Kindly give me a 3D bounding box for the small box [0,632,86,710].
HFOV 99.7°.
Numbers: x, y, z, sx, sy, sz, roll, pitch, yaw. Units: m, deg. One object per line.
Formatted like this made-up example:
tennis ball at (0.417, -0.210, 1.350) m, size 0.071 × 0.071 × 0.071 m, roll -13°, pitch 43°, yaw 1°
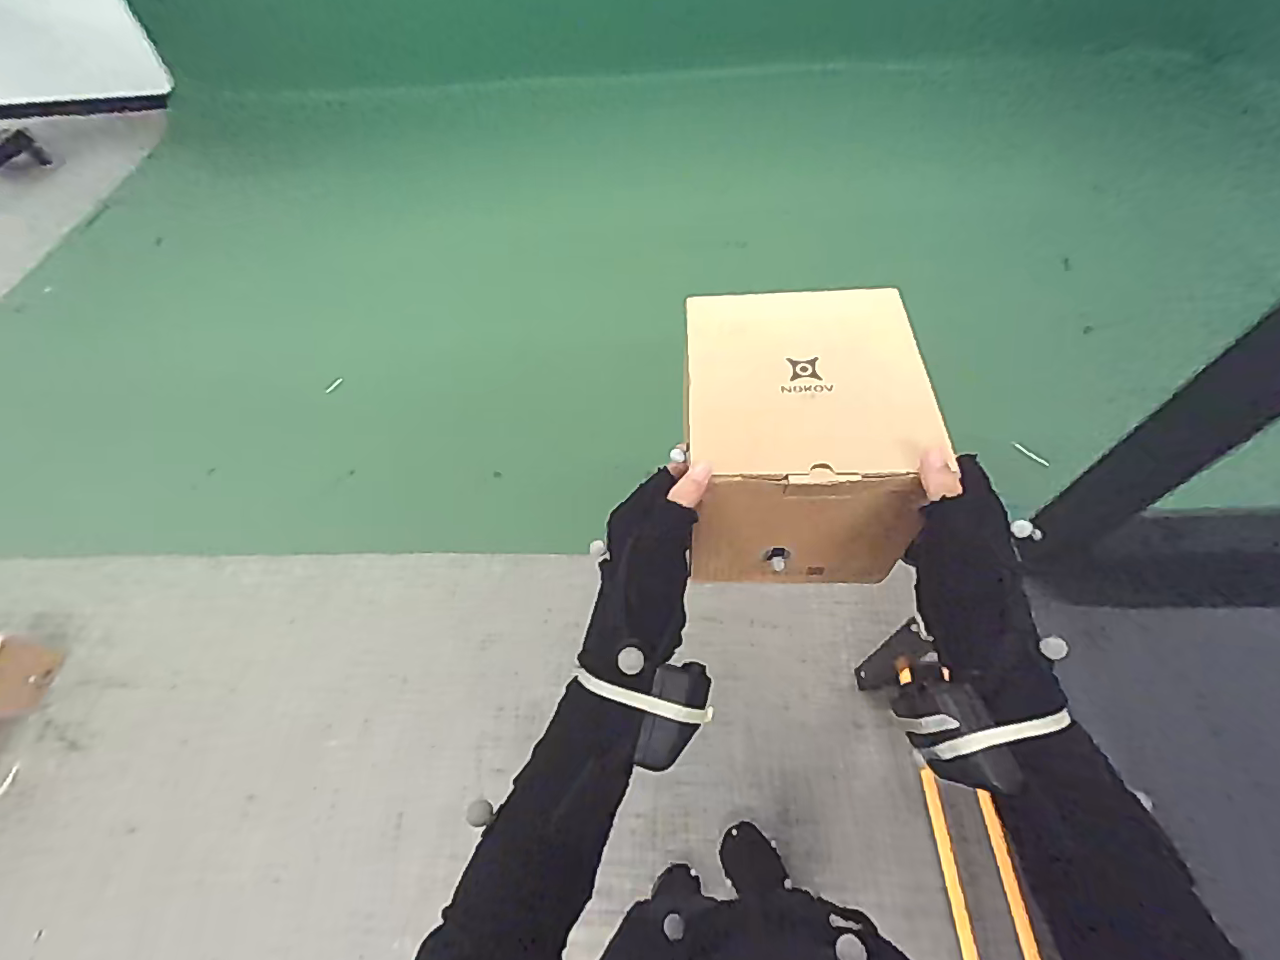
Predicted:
small box at (-1.675, 0.512, 1.444) m, size 0.179 × 0.176 × 0.168 m, roll 1°, pitch 57°, yaw 4°
